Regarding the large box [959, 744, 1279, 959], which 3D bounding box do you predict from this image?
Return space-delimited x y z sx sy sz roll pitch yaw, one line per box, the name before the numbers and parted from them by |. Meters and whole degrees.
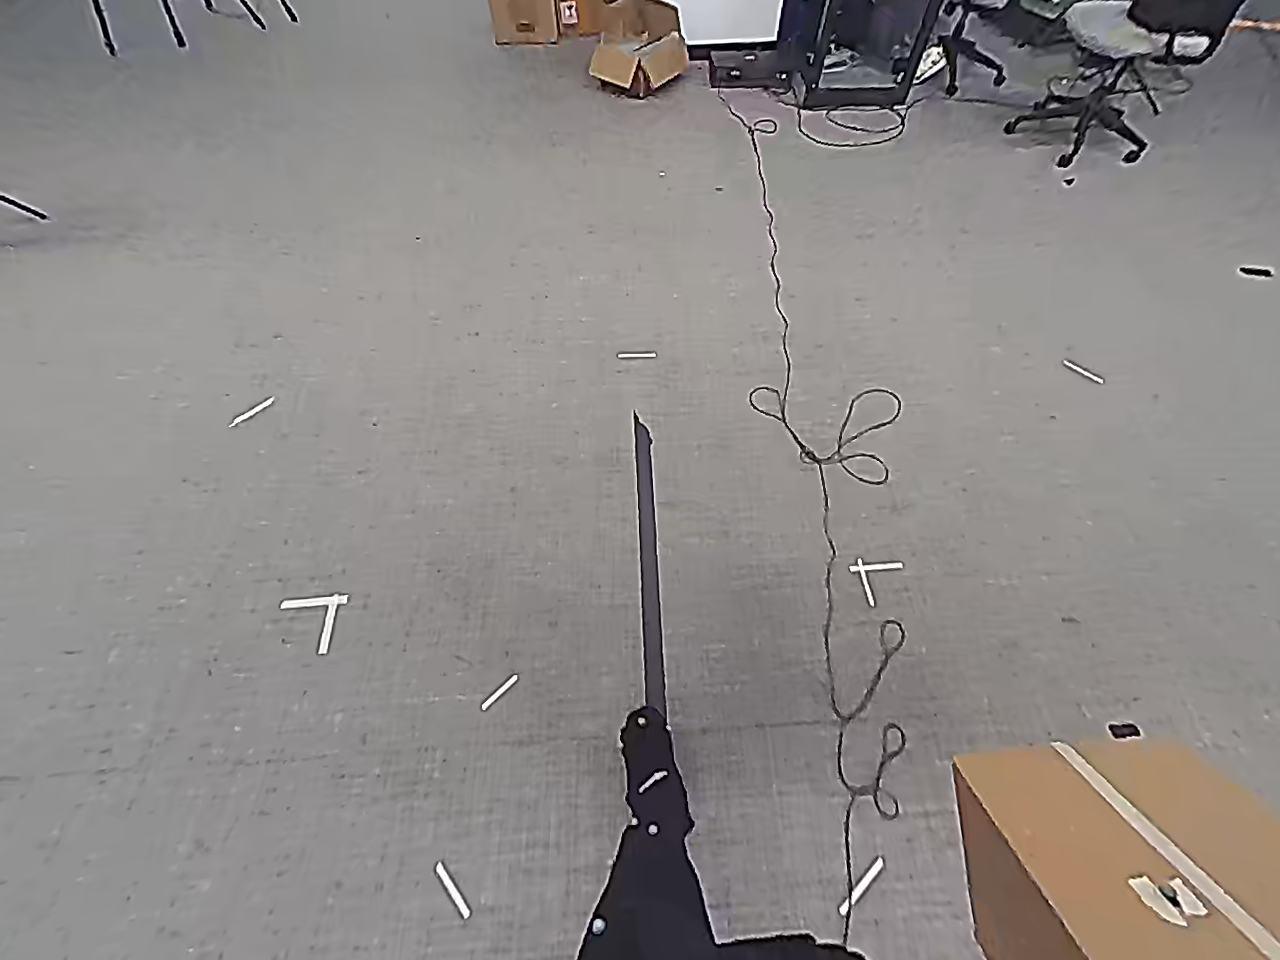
large box | 0.641 0.585 0.644 0.320 0.408 0.320 -10 97 10
